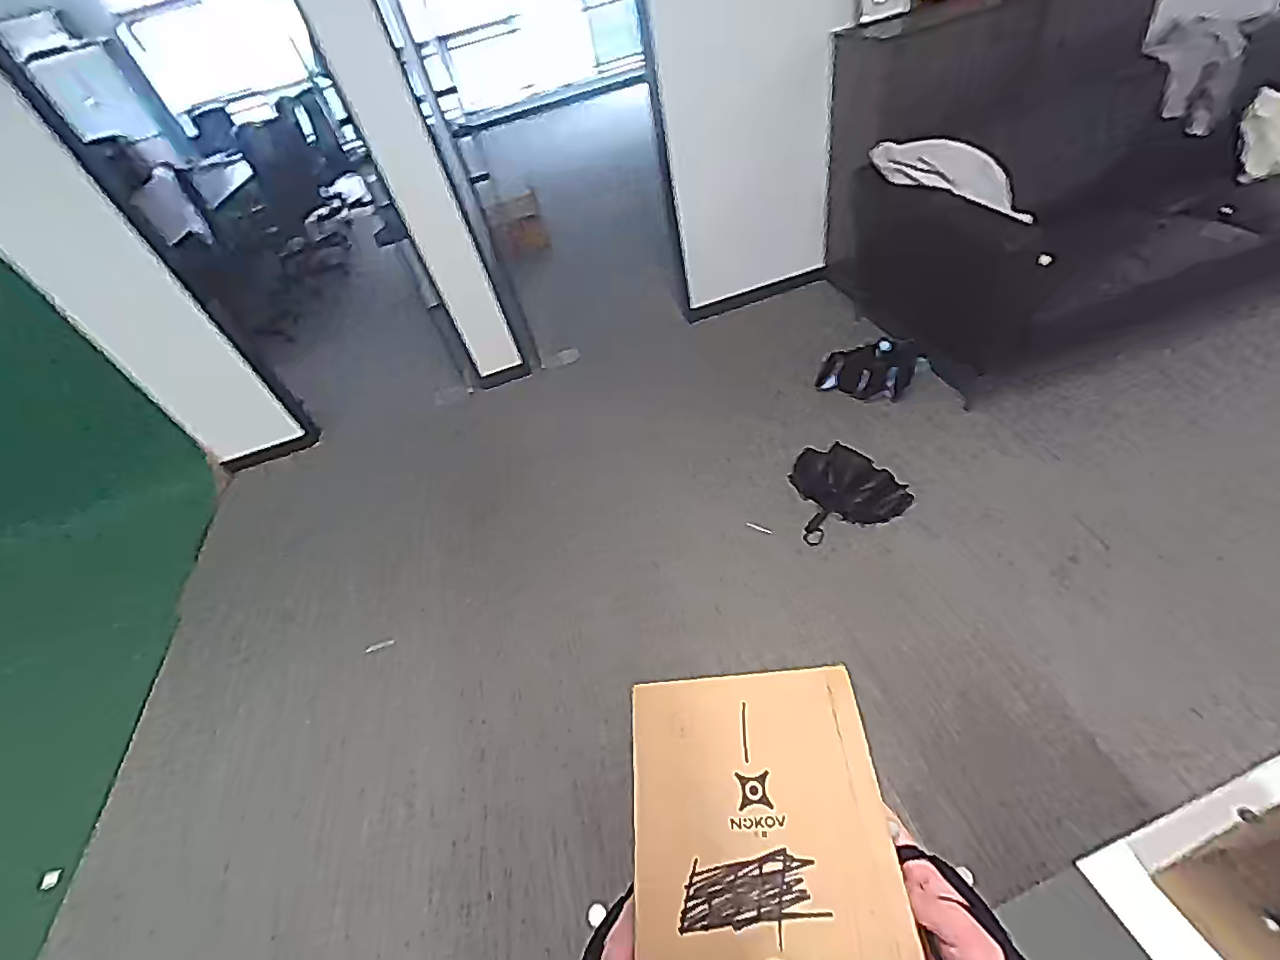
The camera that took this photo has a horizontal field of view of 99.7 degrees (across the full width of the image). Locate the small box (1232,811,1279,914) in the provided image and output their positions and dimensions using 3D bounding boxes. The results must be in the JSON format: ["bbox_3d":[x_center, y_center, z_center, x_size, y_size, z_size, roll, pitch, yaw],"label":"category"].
[{"bbox_3d":[0.717,0.363,0.484,0.179,0.176,0.168,-24,45,-8],"label":"small box"}]

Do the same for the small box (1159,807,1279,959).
[{"bbox_3d":[0.750,0.476,0.597,0.179,0.176,0.168,-22,45,-7],"label":"small box"}]

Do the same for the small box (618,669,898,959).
[{"bbox_3d":[0.082,0.268,0.425,0.168,0.176,0.179,-7,50,8],"label":"small box"}]
